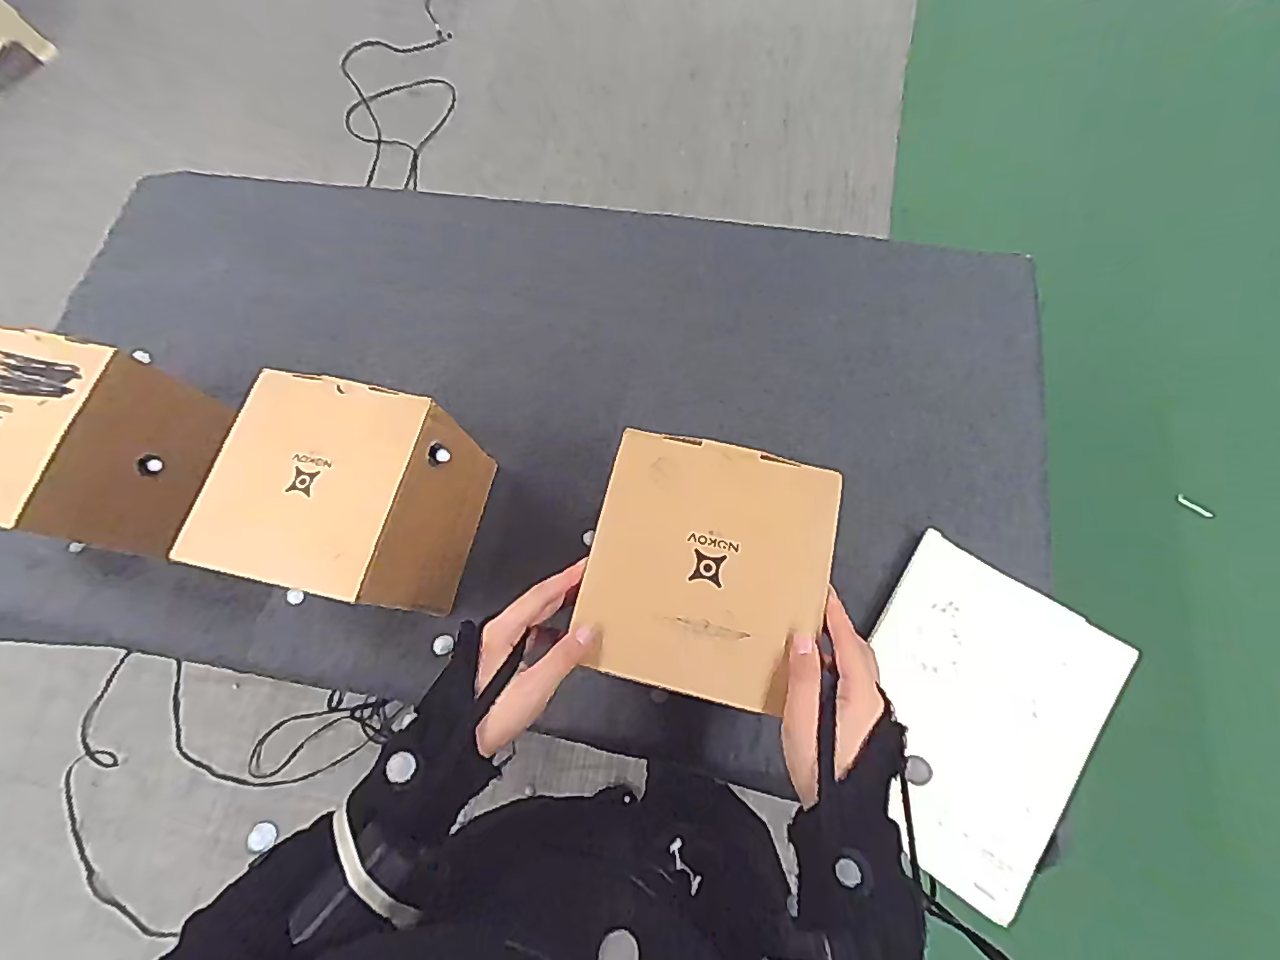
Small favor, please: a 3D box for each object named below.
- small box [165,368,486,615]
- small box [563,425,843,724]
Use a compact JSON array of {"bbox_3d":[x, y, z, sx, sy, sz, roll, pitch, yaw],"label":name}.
[{"bbox_3d":[-0.265,0.022,0.507,0.168,0.176,0.179,10,72,8],"label":"small box"},{"bbox_3d":[0.050,0.079,0.443,0.168,0.176,0.179,11,73,7],"label":"small box"}]
